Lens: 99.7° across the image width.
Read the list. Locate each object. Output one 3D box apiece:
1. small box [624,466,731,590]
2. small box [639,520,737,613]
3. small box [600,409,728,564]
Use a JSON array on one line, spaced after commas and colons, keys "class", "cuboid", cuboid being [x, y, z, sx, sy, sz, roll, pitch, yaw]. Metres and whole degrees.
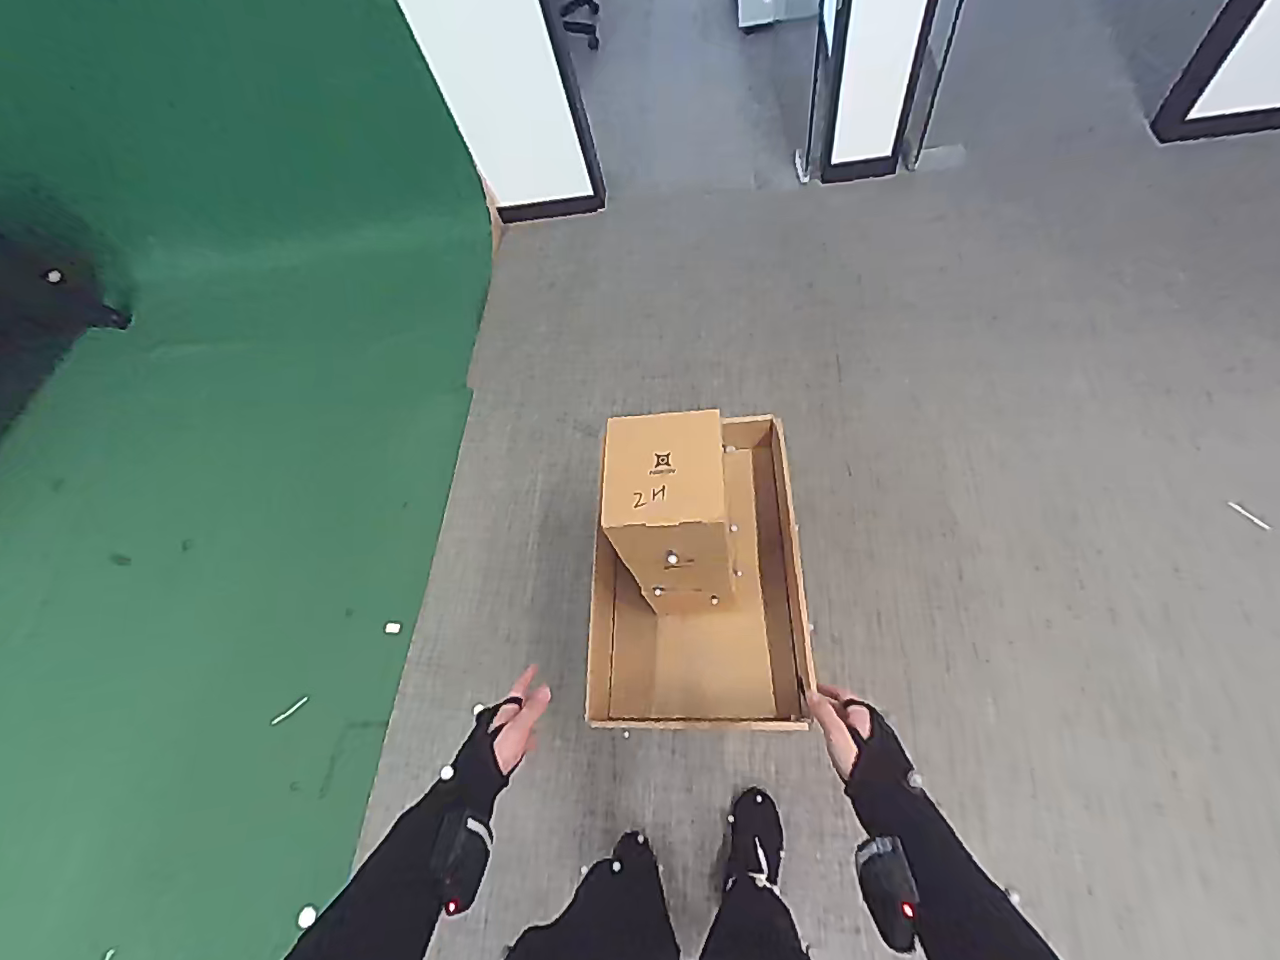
[{"class": "small box", "cuboid": [0.075, 0.089, 0.951, 0.168, 0.176, 0.179, -1, 62, 10]}, {"class": "small box", "cuboid": [0.101, 0.169, 1.092, 0.179, 0.176, 0.168, -3, 62, 9]}, {"class": "small box", "cuboid": [0.044, 0.016, 0.807, 0.168, 0.176, 0.179, -3, 62, 10]}]
